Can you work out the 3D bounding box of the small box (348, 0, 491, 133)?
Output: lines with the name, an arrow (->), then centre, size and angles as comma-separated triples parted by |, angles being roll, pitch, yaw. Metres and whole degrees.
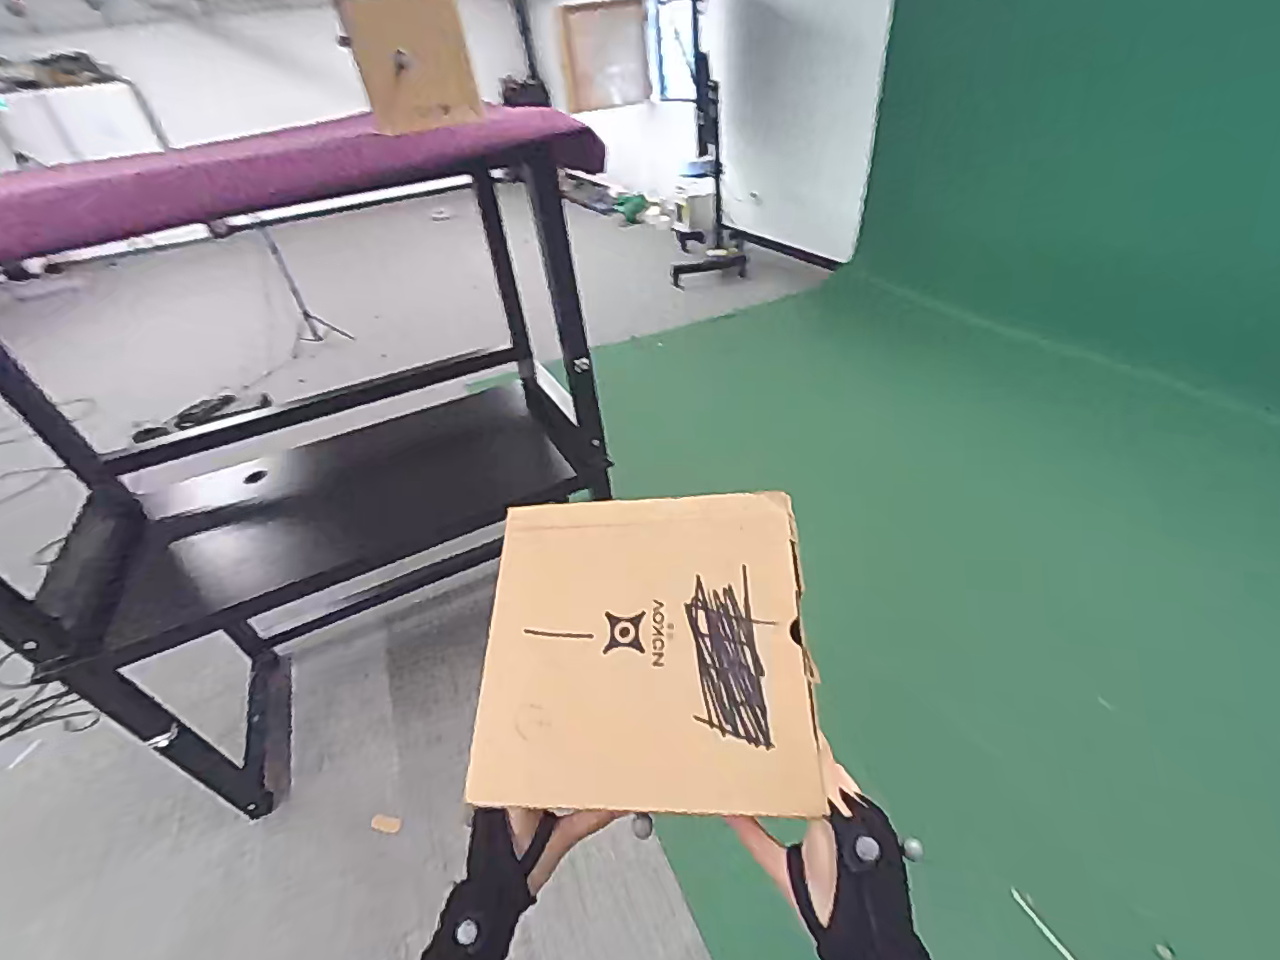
small box -> -0.359, -0.682, 0.889 | 0.168, 0.176, 0.179 | -20, 39, -16
